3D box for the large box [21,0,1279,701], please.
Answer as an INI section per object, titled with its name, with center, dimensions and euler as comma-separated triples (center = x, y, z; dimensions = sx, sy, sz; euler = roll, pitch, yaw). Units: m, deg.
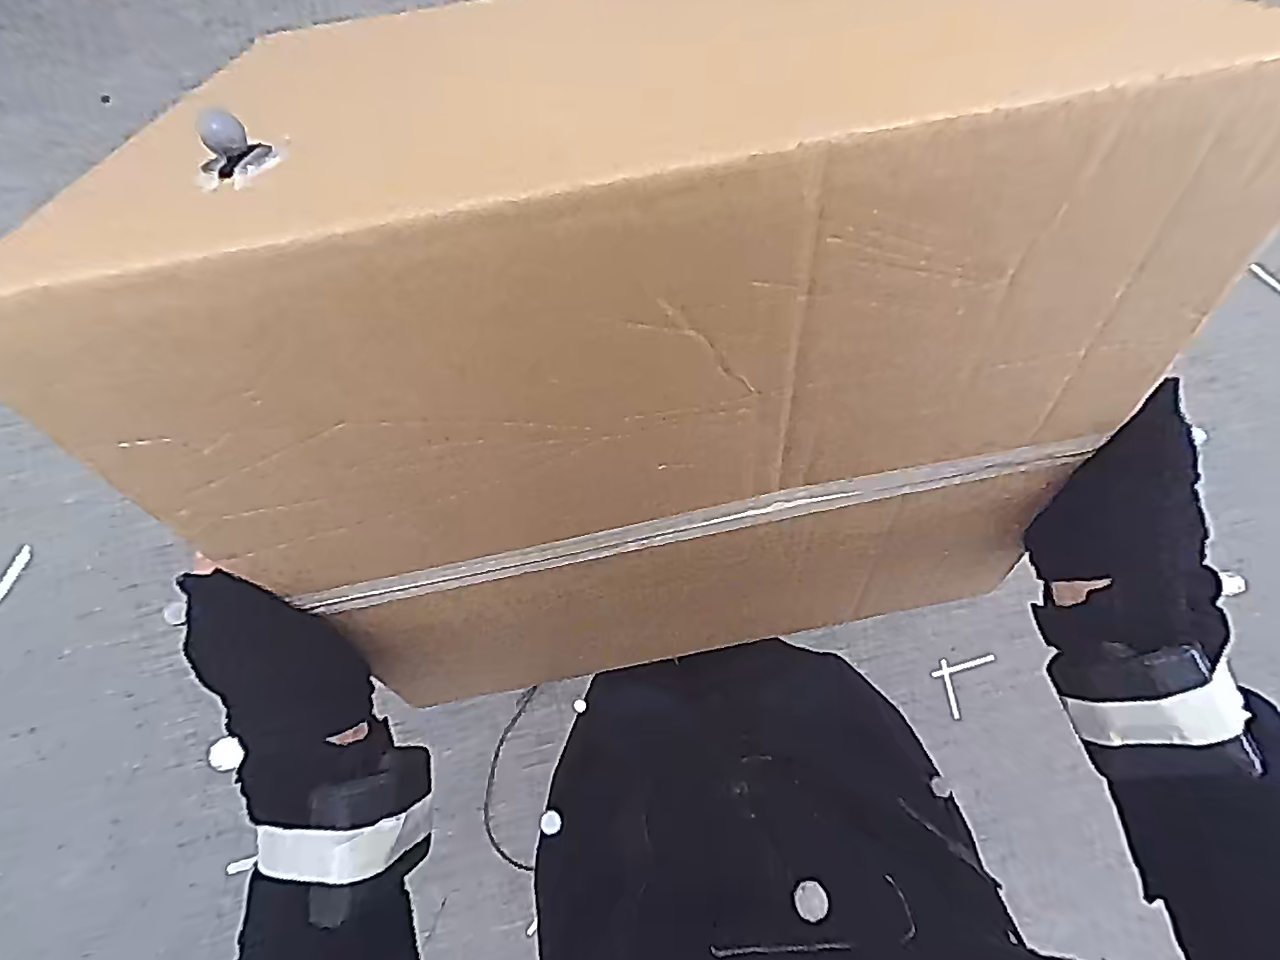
[large box]
center = 0.006, -0.092, 0.365
dimensions = 0.408, 0.320, 0.320
euler = -11, 50, -1
